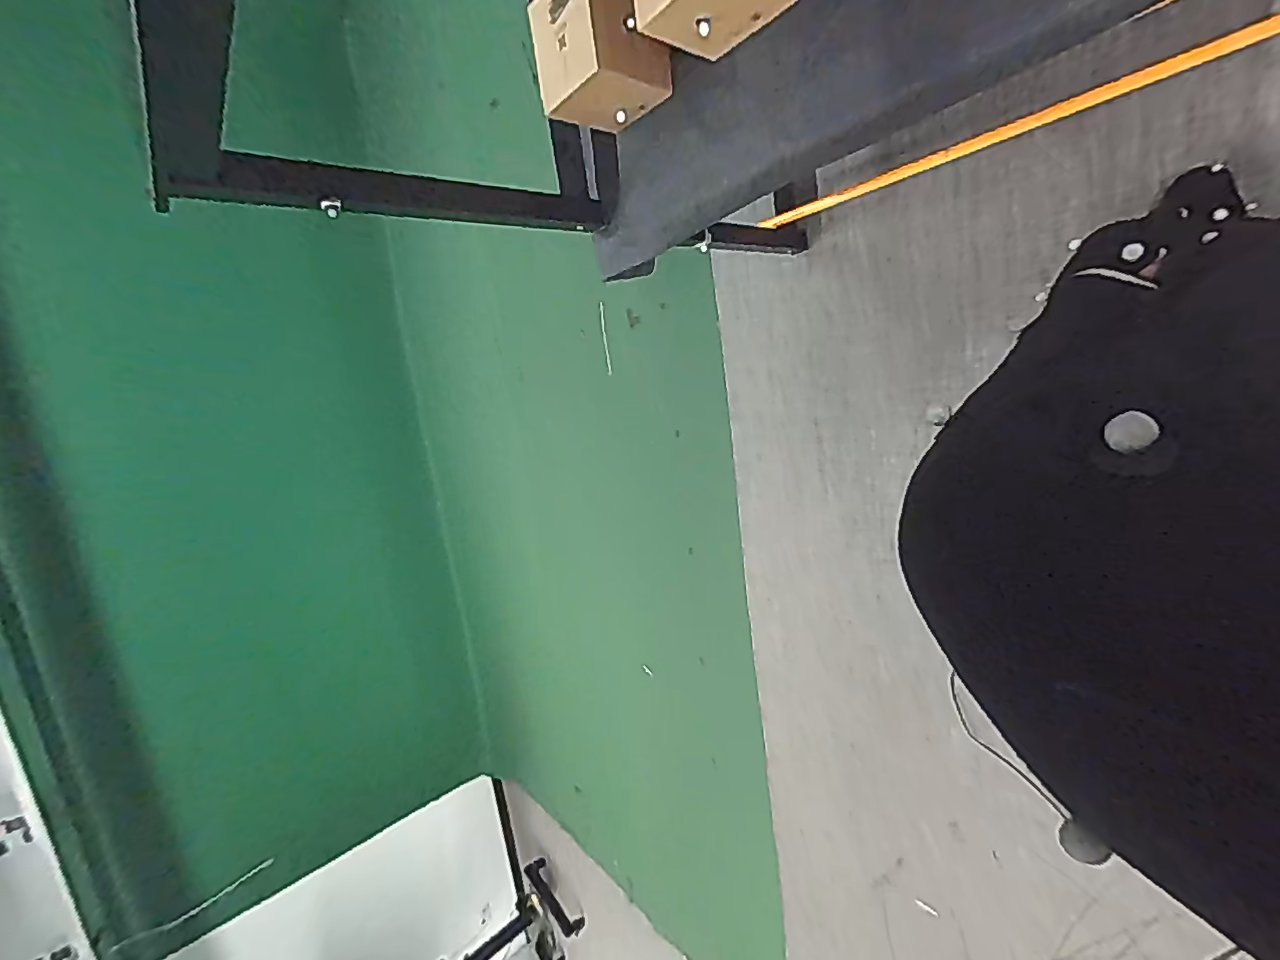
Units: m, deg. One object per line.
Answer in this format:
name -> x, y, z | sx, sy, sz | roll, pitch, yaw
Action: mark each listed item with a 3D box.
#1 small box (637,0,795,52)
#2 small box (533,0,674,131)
small box -> 0.104, -0.737, 0.749 | 0.168, 0.176, 0.179 | 4, 105, 49
small box -> -0.061, -0.745, 0.940 | 0.168, 0.176, 0.179 | 4, 106, 50
